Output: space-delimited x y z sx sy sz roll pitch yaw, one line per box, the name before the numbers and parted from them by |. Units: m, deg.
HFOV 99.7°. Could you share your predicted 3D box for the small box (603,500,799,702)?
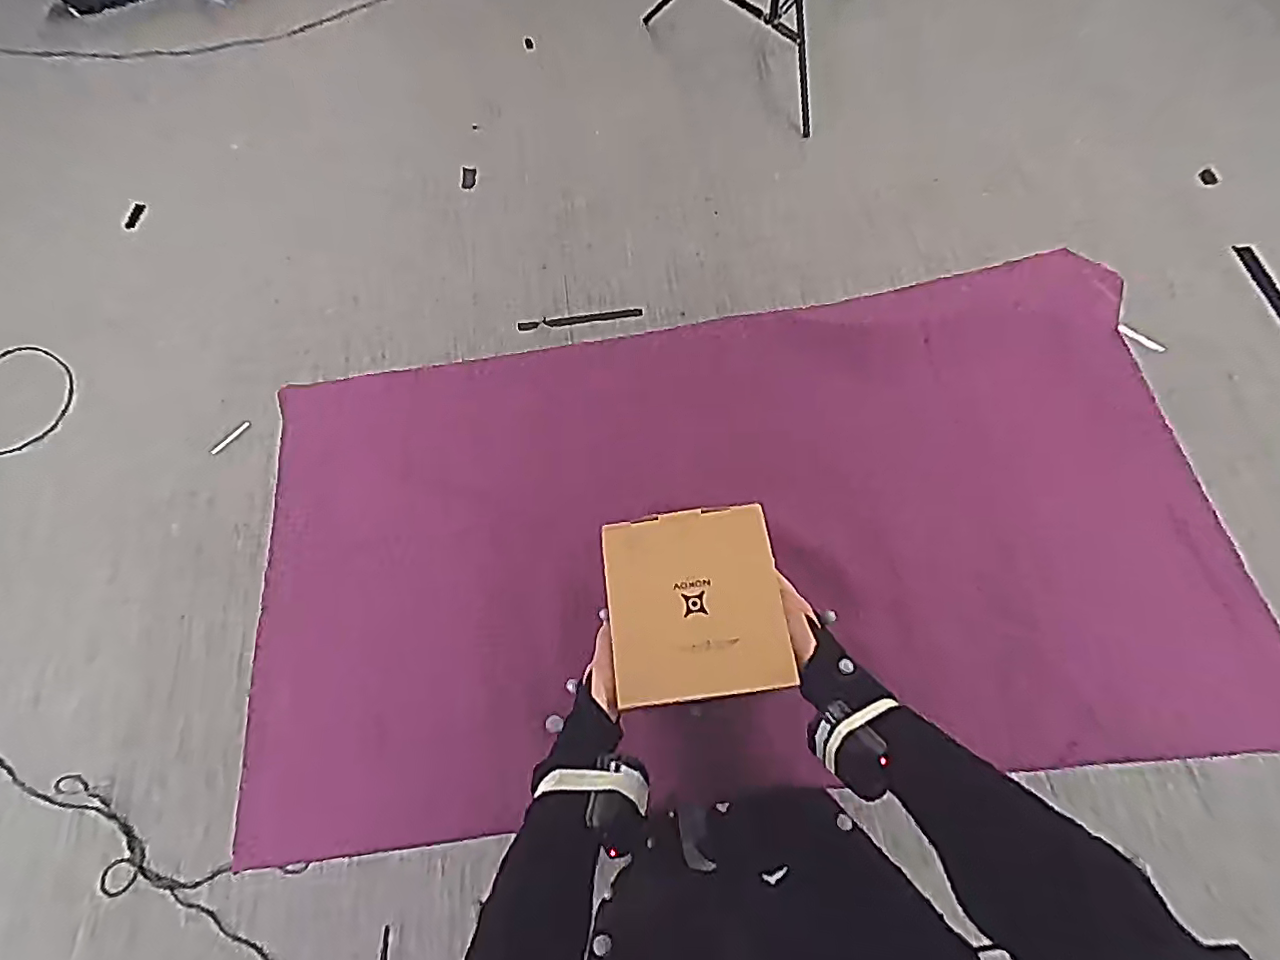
small box | 0.057 0.139 0.588 0.168 0.176 0.179 -9 69 2
